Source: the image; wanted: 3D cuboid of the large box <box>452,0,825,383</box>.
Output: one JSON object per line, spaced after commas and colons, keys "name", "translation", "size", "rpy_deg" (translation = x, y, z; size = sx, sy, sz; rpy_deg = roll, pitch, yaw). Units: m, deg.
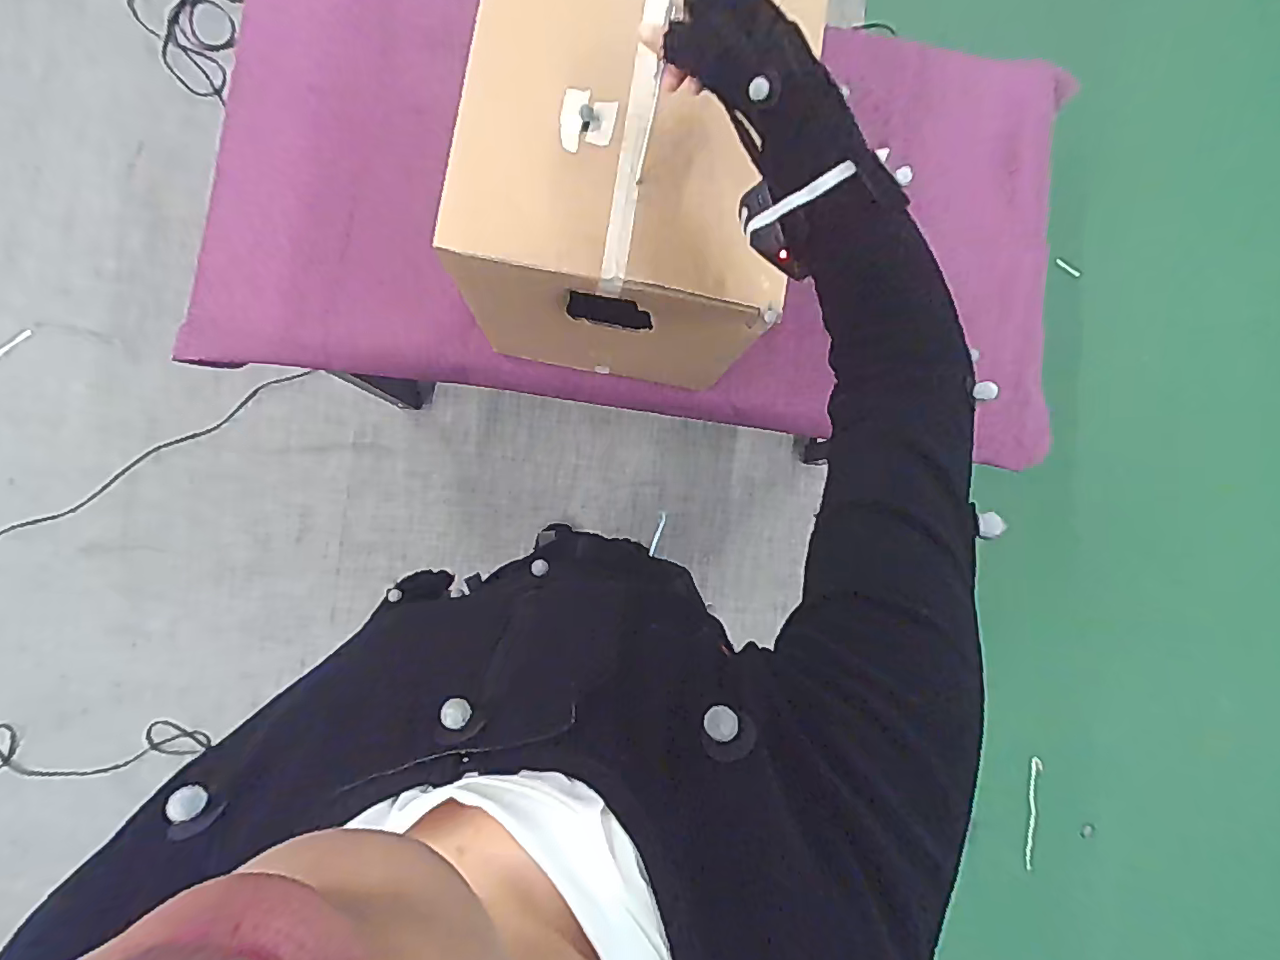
{"name": "large box", "translation": [-0.005, -0.368, 0.652], "size": [0.320, 0.320, 0.408], "rpy_deg": [10, 87, -5]}
